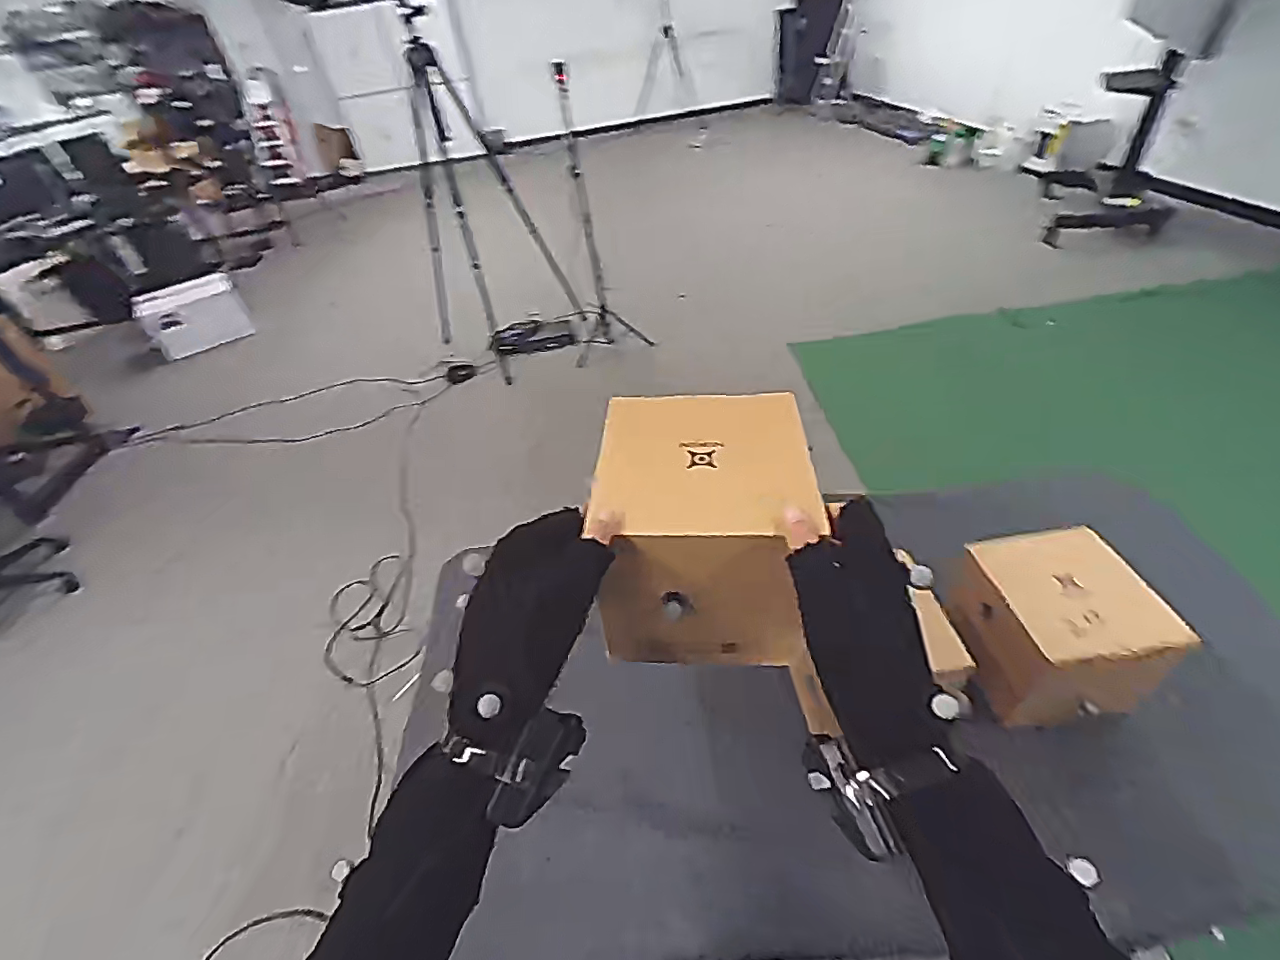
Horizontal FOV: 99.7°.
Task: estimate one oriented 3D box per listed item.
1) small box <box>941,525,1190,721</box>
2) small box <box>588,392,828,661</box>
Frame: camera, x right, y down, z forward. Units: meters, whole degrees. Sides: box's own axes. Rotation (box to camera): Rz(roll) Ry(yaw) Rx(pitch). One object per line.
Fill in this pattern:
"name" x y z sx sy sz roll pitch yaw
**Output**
"small box" 0.529 0.187 0.711 0.168 0.176 0.179 -9 41 2
"small box" 0.059 0.041 0.477 0.168 0.176 0.179 -1 40 6
